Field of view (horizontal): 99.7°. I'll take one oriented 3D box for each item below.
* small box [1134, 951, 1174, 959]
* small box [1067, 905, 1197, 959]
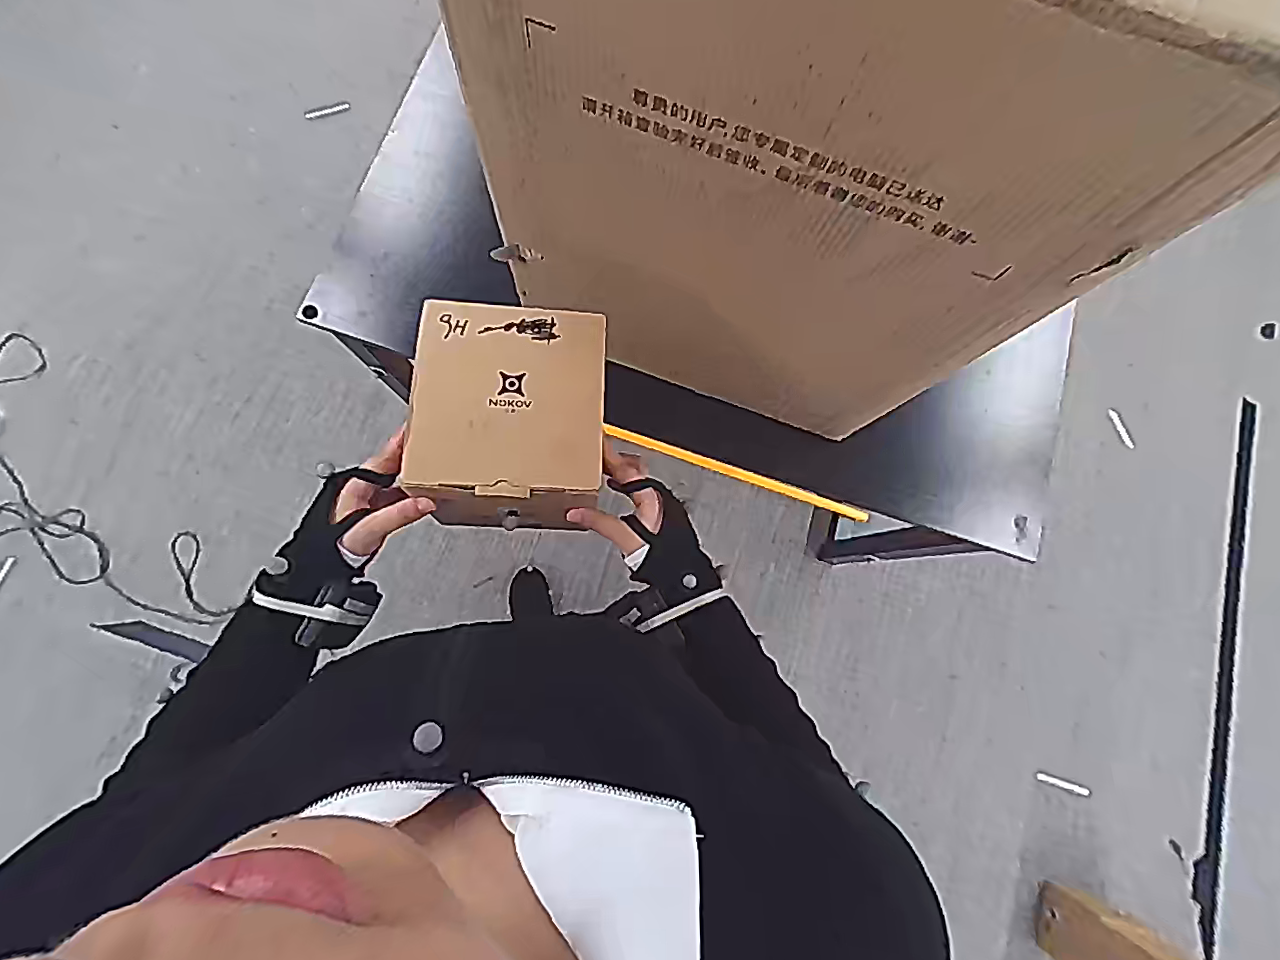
[{"bbox_3d":[1.180,1.137,1.124,0.179,0.176,0.168,18,78,-1],"label":"small box"},{"bbox_3d":[1.177,1.163,1.287,0.179,0.176,0.168,17,78,0],"label":"small box"}]
